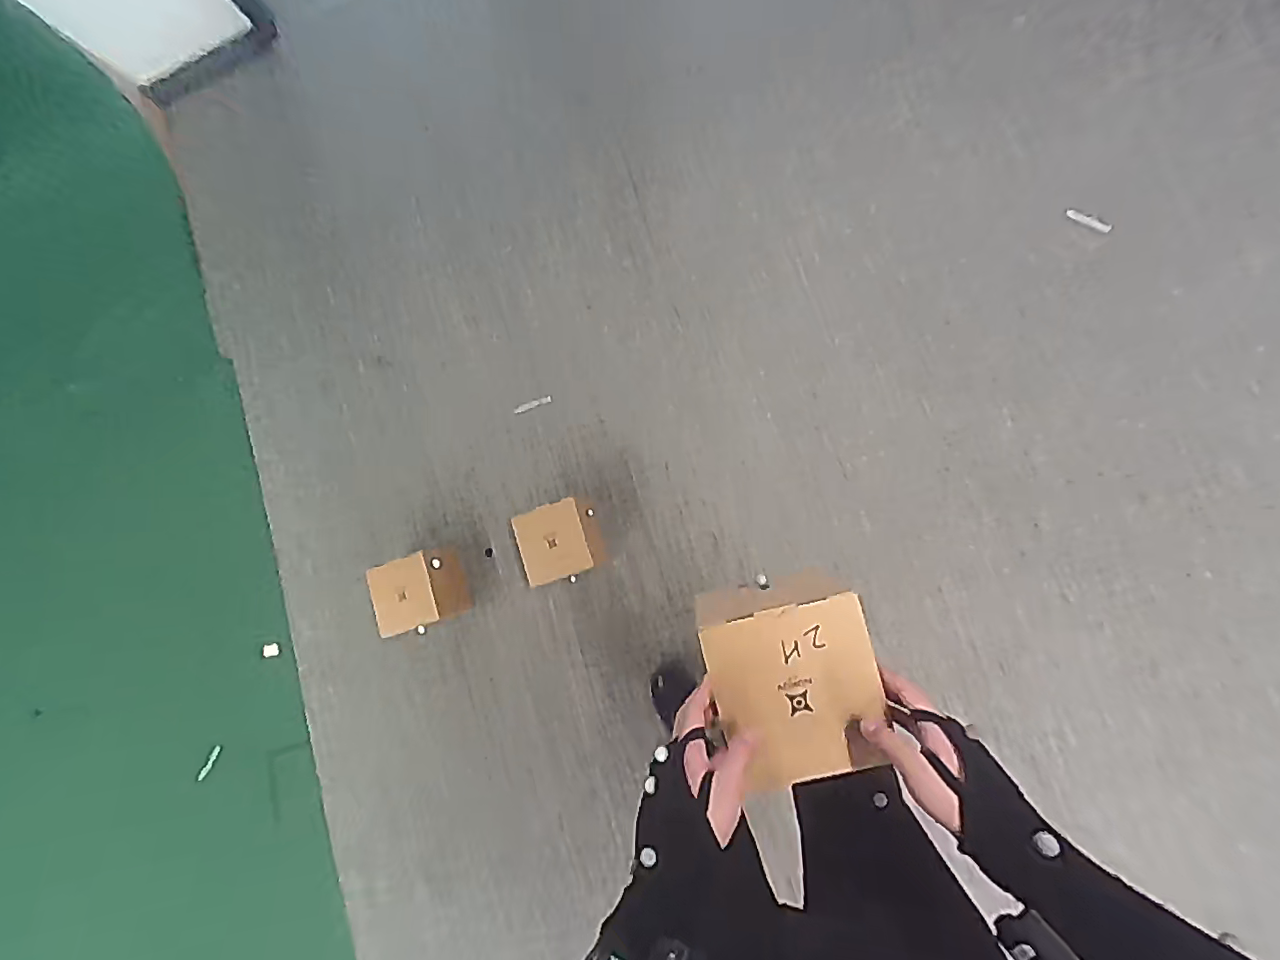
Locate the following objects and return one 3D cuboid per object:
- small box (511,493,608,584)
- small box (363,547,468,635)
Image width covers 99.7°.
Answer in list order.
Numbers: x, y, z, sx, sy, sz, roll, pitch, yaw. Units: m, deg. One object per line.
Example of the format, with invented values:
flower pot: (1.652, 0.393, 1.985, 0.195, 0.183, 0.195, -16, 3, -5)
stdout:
small box: (-0.192, 0.145, 1.331, 0.168, 0.176, 0.179, -19, 82, 8)
small box: (-0.566, 0.277, 1.385, 0.168, 0.176, 0.179, -20, 81, 8)
